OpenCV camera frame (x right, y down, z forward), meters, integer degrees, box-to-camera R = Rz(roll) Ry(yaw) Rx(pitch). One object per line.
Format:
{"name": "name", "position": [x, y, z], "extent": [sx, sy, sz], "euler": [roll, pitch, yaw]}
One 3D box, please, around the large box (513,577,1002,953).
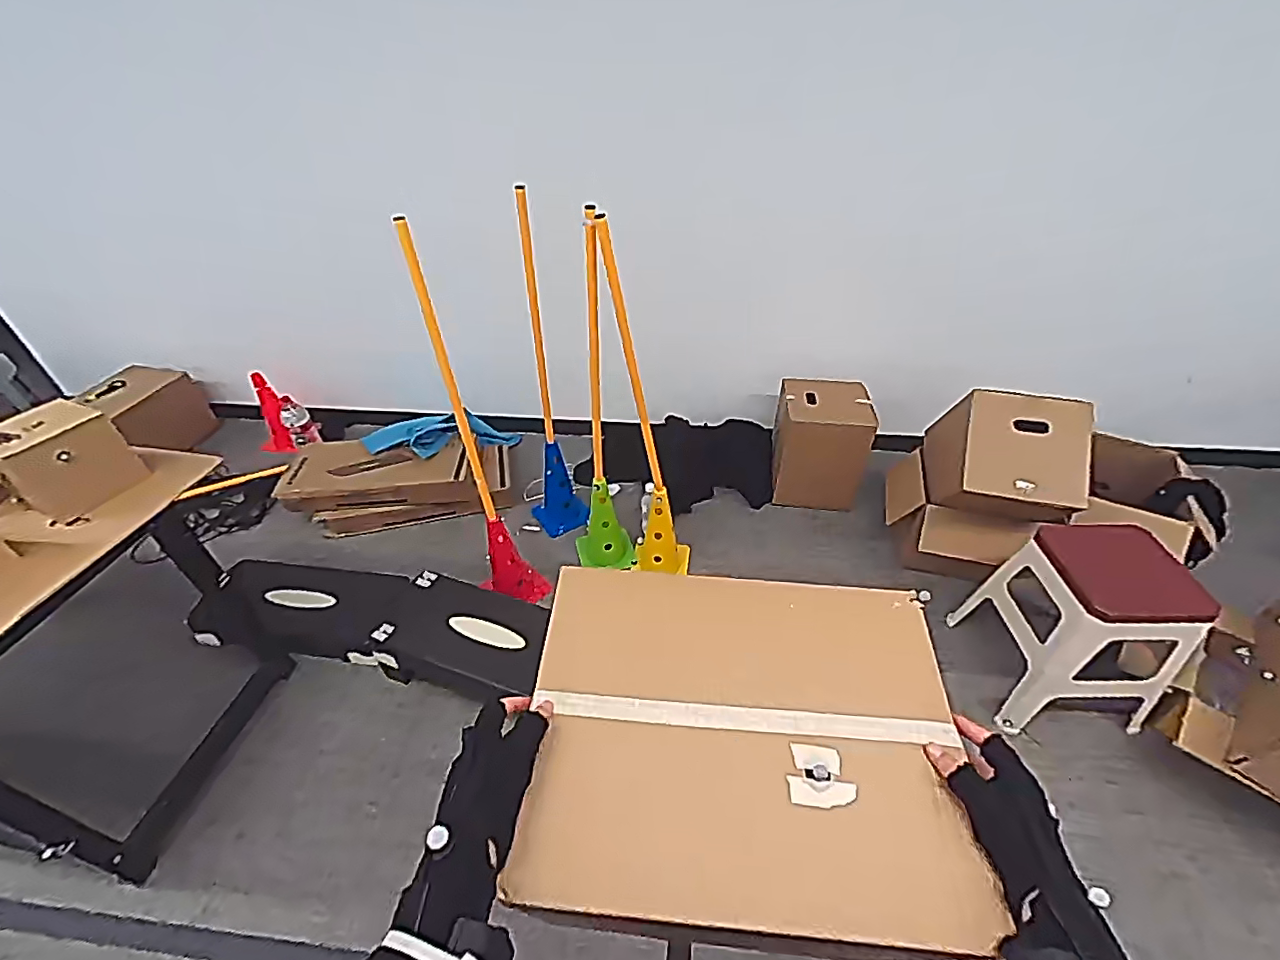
{"name": "large box", "position": [0.100, 0.339, 0.644], "extent": [0.408, 0.320, 0.320], "euler": [4, 49, 3]}
